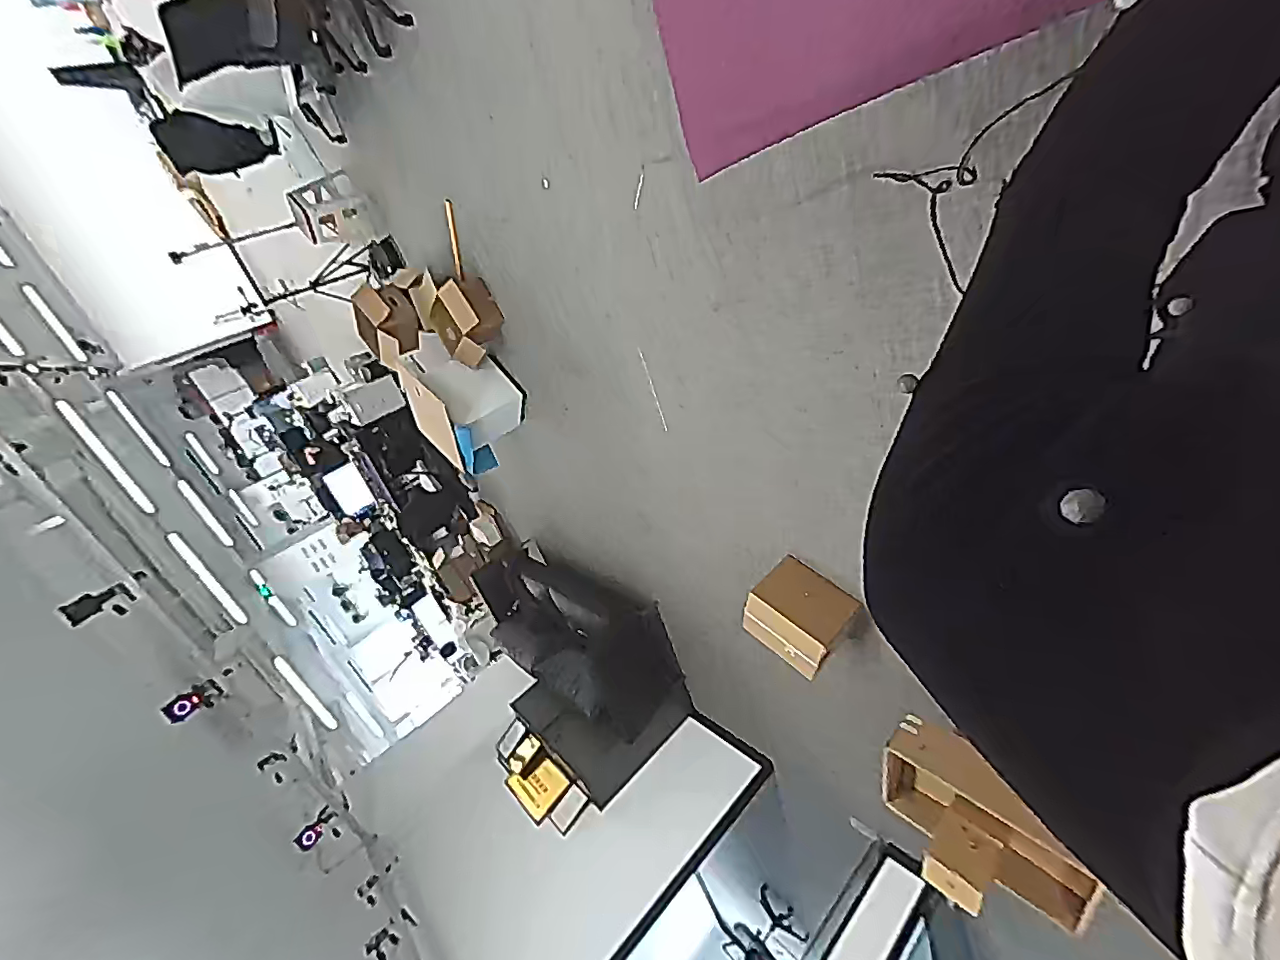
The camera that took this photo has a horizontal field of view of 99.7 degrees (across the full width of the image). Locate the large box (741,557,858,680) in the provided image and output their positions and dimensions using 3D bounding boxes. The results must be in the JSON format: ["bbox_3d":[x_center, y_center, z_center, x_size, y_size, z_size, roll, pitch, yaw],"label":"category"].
[{"bbox_3d":[0.740,0.642,2.546,0.408,0.320,0.320,34,145,31],"label":"large box"}]

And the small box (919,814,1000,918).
[{"bbox_3d":[1.004,1.208,1.700,0.168,0.176,0.179,21,136,43],"label":"small box"}]
